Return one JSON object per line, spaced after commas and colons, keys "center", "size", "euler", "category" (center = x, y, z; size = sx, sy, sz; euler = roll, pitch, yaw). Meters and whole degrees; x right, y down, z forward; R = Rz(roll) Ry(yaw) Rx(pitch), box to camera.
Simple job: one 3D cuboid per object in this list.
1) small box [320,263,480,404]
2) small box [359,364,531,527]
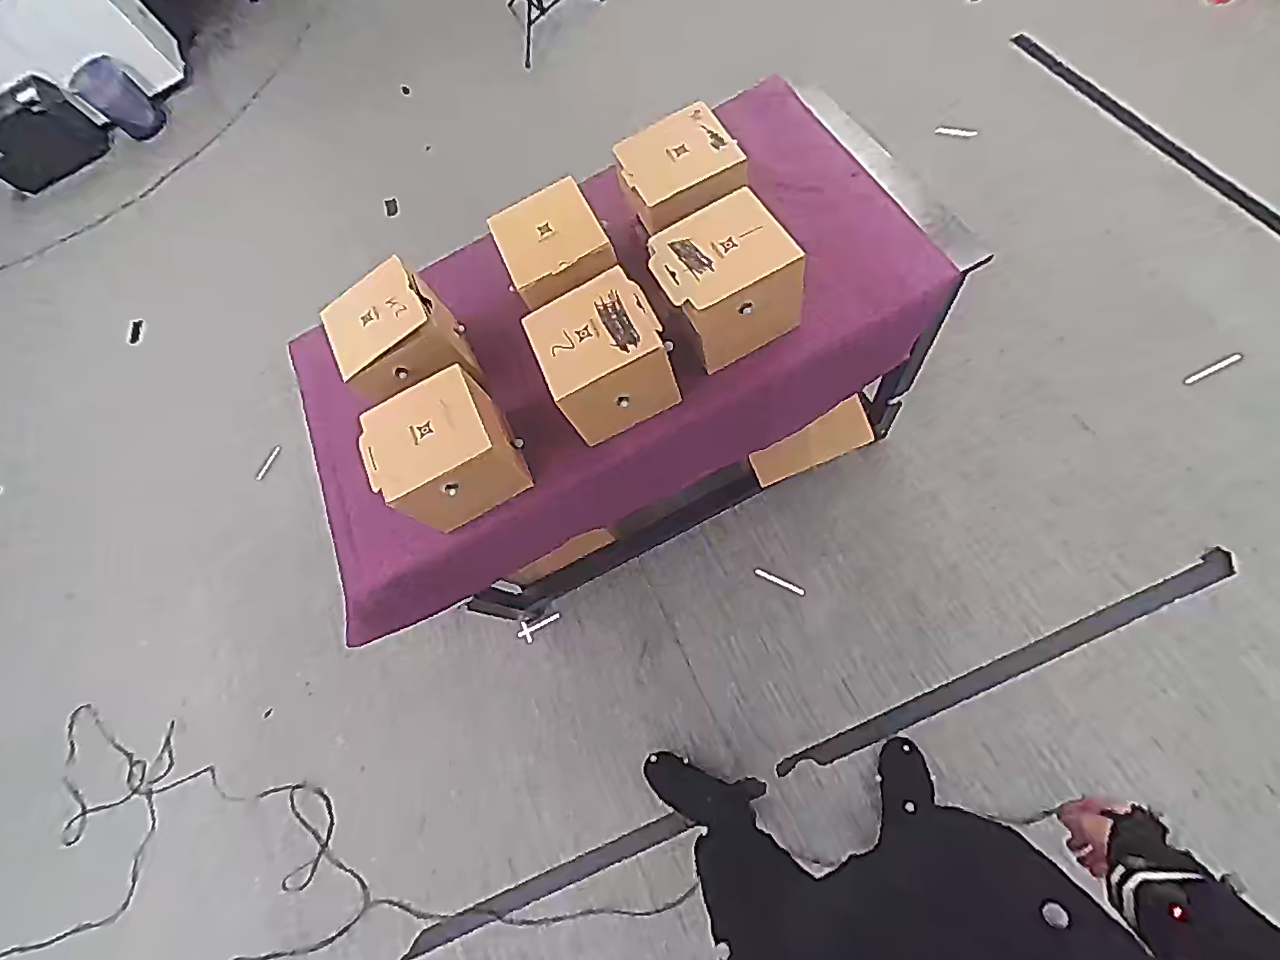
{"center": [-0.419, -0.236, 0.960], "size": [0.179, 0.176, 0.168], "euler": [-30, 68, 1], "category": "small box"}
{"center": [-0.305, -0.044, 0.867], "size": [0.179, 0.176, 0.168], "euler": [-28, 67, 1], "category": "small box"}
